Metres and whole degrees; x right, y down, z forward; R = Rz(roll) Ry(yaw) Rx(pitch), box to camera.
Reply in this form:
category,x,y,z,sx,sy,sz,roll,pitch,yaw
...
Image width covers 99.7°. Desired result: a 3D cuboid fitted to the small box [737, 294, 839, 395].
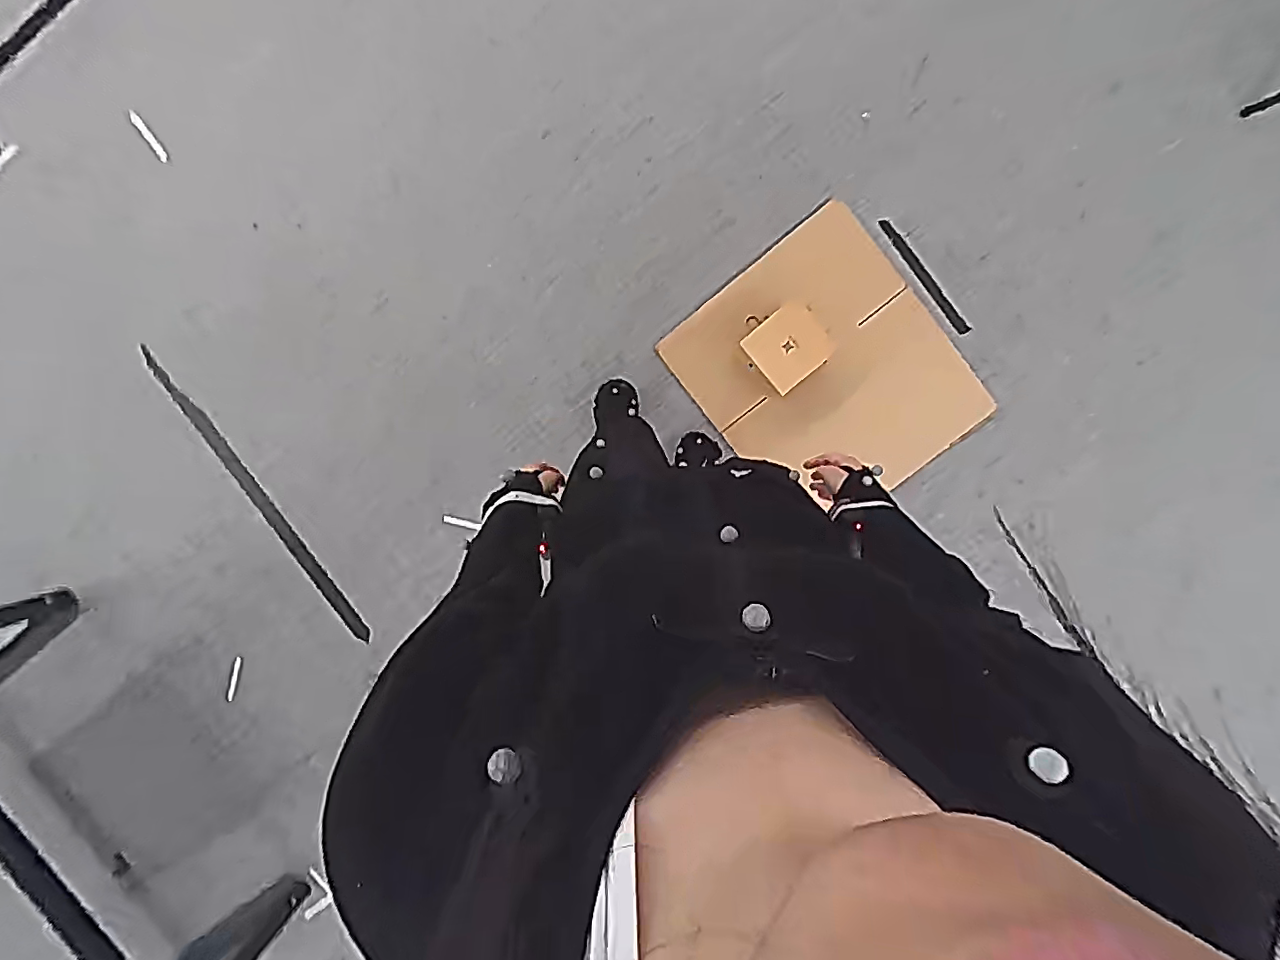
category,x,y,z,sx,sy,sz,roll,pitch,yaw
small box,0.356,-0.326,1.346,0.179,0.176,0.168,-40,93,7
